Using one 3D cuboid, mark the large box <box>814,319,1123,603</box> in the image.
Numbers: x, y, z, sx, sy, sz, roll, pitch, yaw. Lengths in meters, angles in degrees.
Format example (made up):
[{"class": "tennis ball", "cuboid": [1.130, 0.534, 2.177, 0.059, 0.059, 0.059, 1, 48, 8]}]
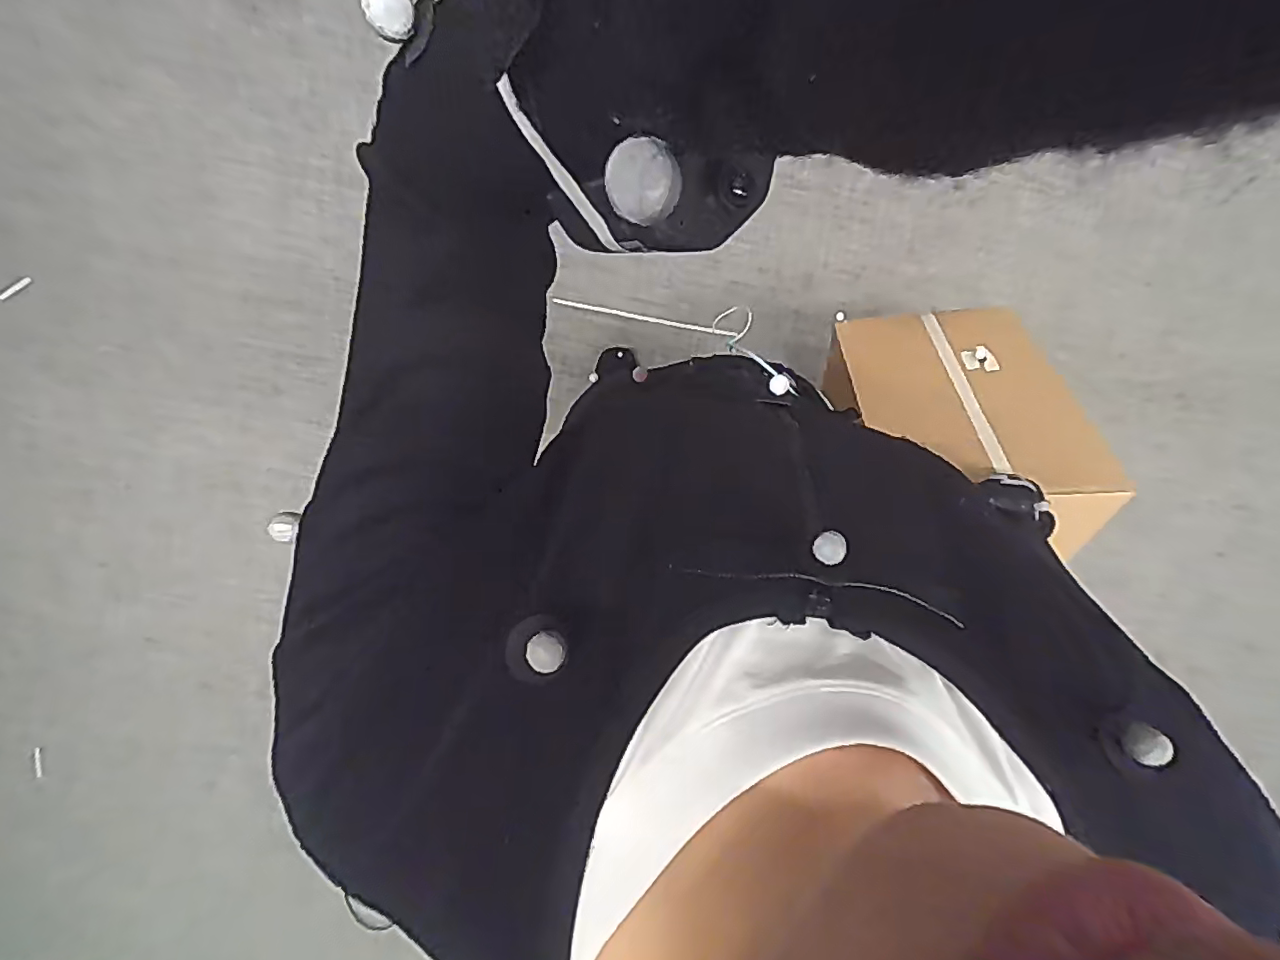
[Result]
[{"class": "large box", "cuboid": [0.517, -0.030, 0.970, 0.320, 0.408, 0.320, -2, 141, 6]}]
